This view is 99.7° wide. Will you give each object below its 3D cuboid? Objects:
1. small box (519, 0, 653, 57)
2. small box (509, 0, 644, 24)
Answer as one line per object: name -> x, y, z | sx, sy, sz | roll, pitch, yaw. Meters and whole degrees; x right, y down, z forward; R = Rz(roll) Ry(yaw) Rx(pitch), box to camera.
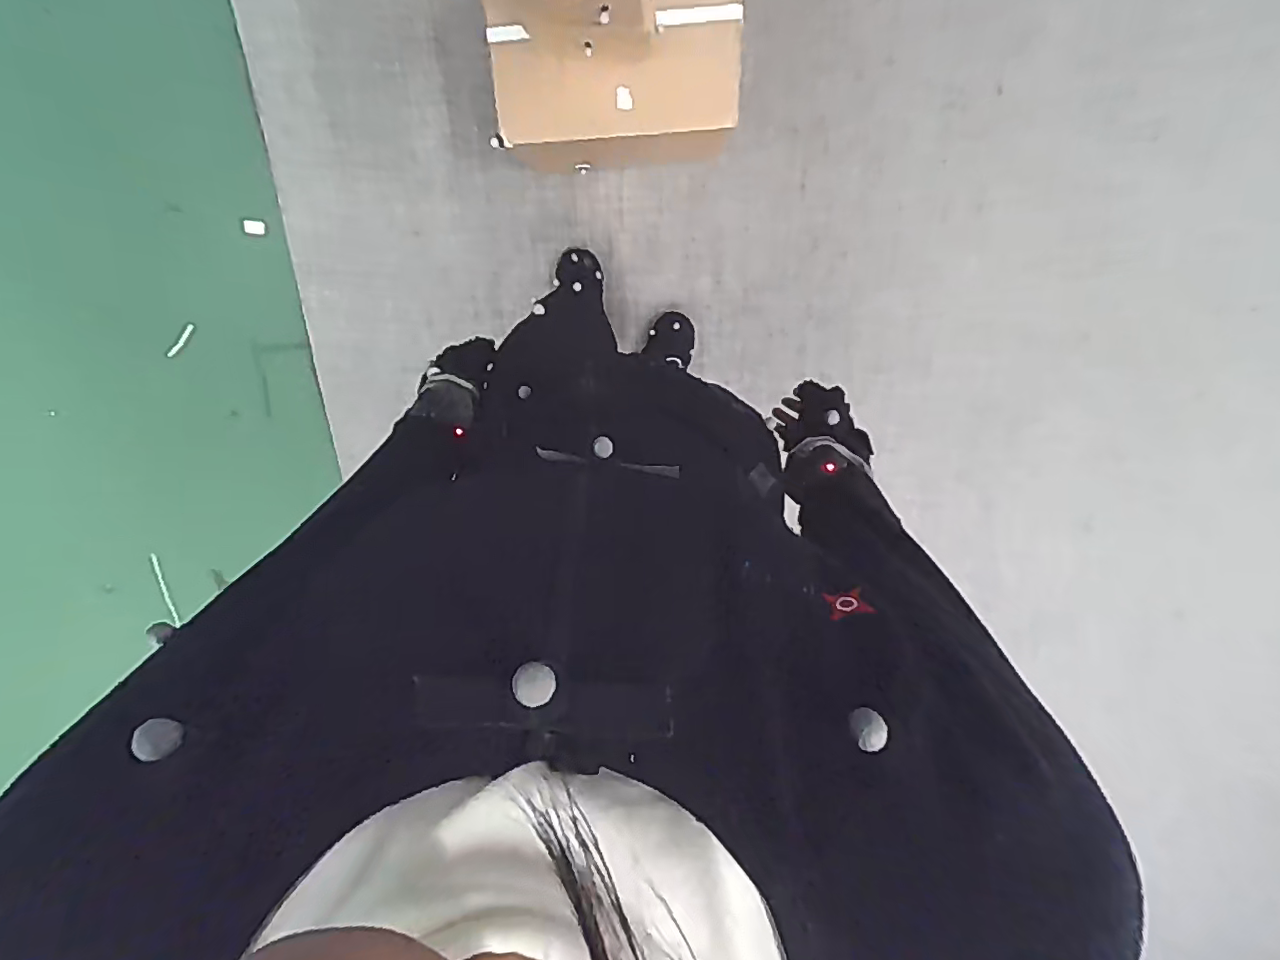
small box -> -0.067, -0.720, 0.761 | 0.179, 0.176, 0.168 | 5, 116, 1
small box -> -0.079, -0.651, 0.617 | 0.168, 0.176, 0.179 | 1, 116, 1
